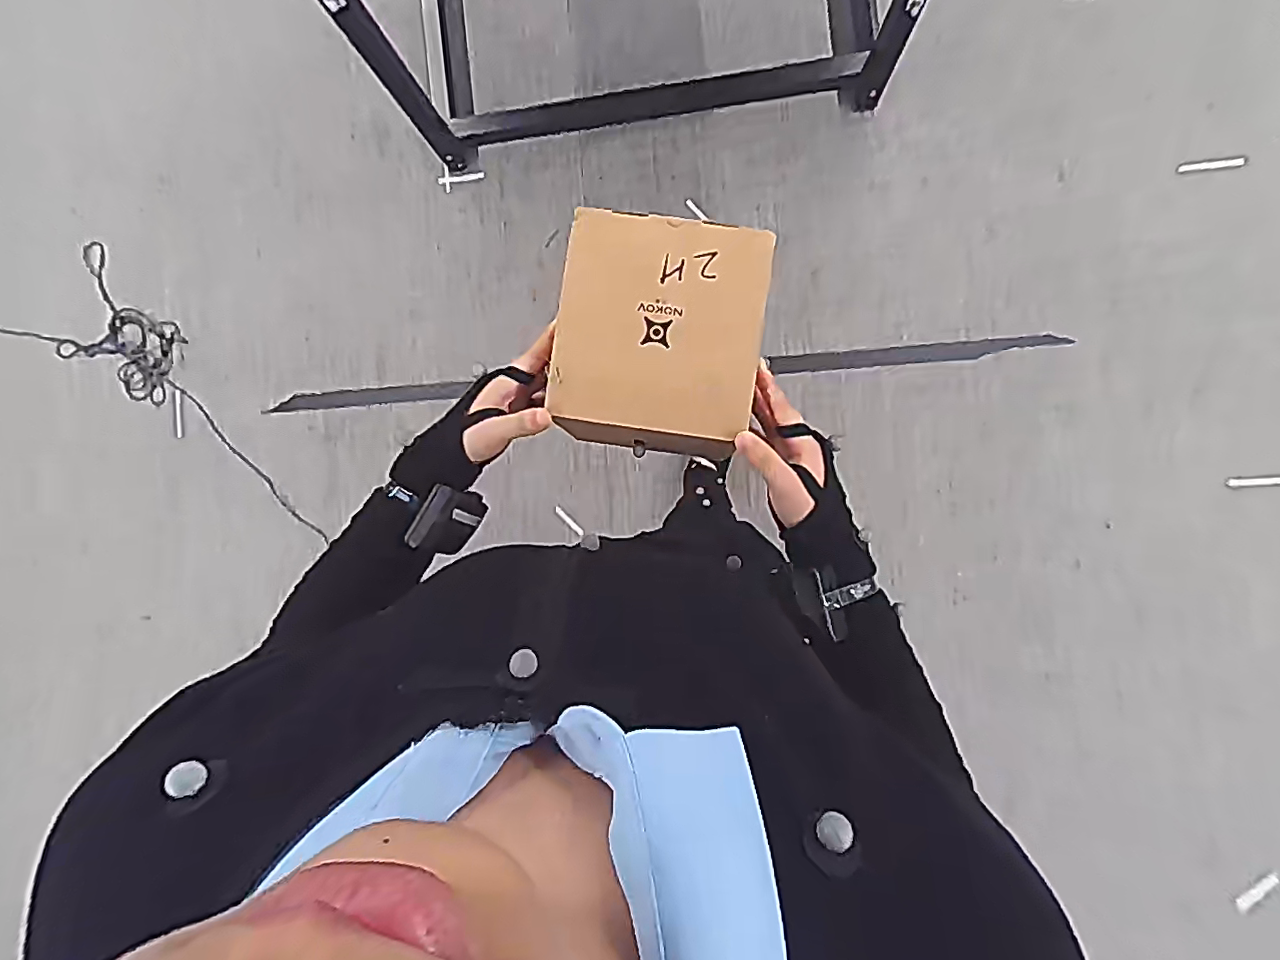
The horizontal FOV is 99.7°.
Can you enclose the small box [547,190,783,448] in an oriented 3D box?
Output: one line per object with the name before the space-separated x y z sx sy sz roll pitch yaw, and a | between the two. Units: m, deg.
small box | 0.023 -0.131 0.504 0.168 0.176 0.179 9 87 2
